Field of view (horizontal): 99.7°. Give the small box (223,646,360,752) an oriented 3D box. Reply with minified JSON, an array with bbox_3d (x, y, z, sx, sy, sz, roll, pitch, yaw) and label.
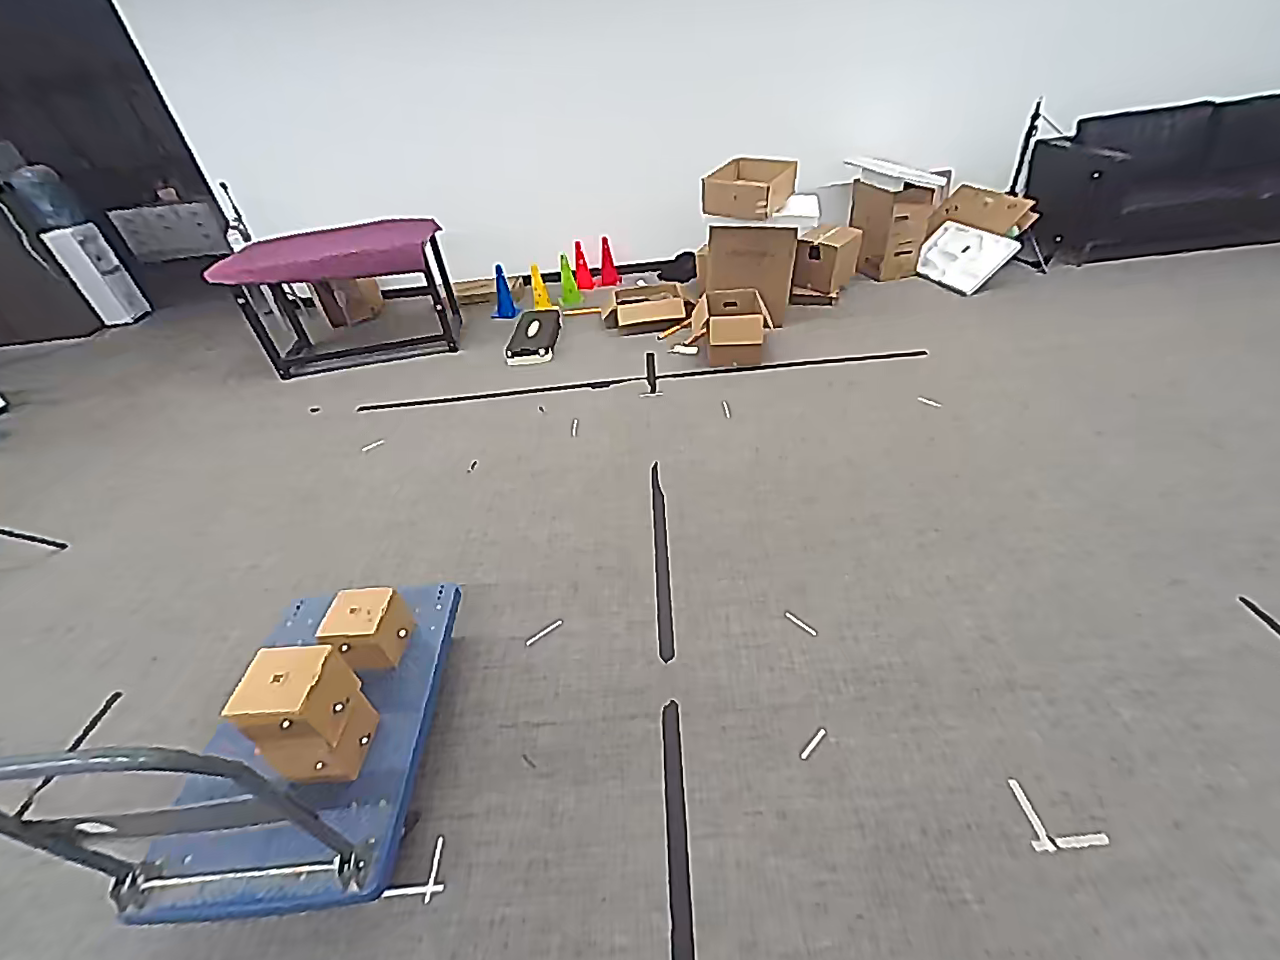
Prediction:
[{"bbox_3d":[-0.786,0.506,1.242,0.179,0.176,0.168,-4,38,1],"label":"small box"}]

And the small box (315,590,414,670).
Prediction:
[{"bbox_3d":[-0.798,0.442,1.584,0.179,0.176,0.168,-4,39,4],"label":"small box"}]
